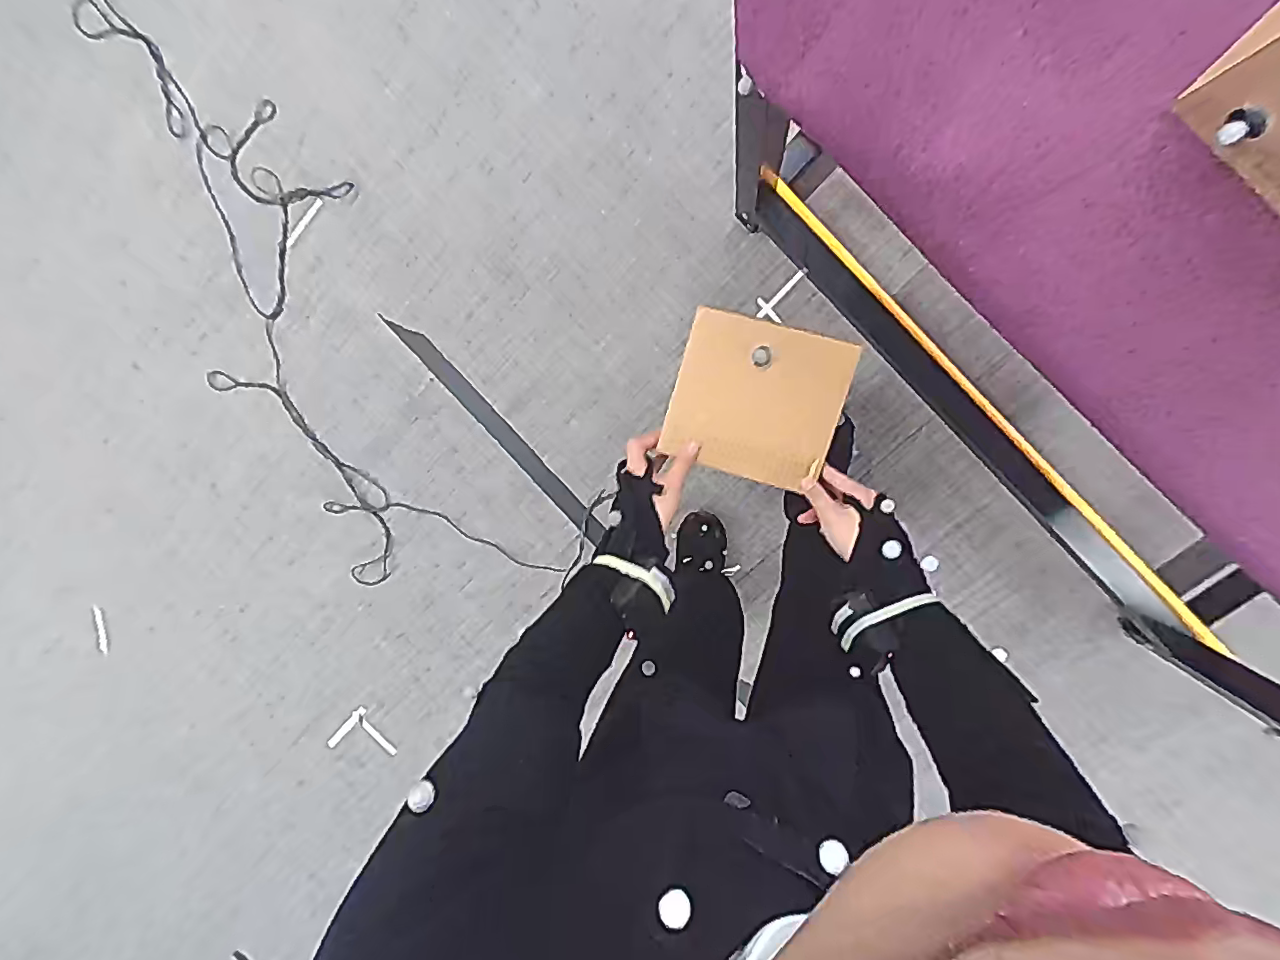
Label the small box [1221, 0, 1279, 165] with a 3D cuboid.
[{"bbox_3d":[0.447,-0.237,0.248,0.168,0.176,0.179,44,103,-1],"label":"small box"}]

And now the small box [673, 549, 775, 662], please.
[{"bbox_3d":[0.167,0.254,1.122,0.179,0.176,0.168,10,98,3],"label":"small box"}]
